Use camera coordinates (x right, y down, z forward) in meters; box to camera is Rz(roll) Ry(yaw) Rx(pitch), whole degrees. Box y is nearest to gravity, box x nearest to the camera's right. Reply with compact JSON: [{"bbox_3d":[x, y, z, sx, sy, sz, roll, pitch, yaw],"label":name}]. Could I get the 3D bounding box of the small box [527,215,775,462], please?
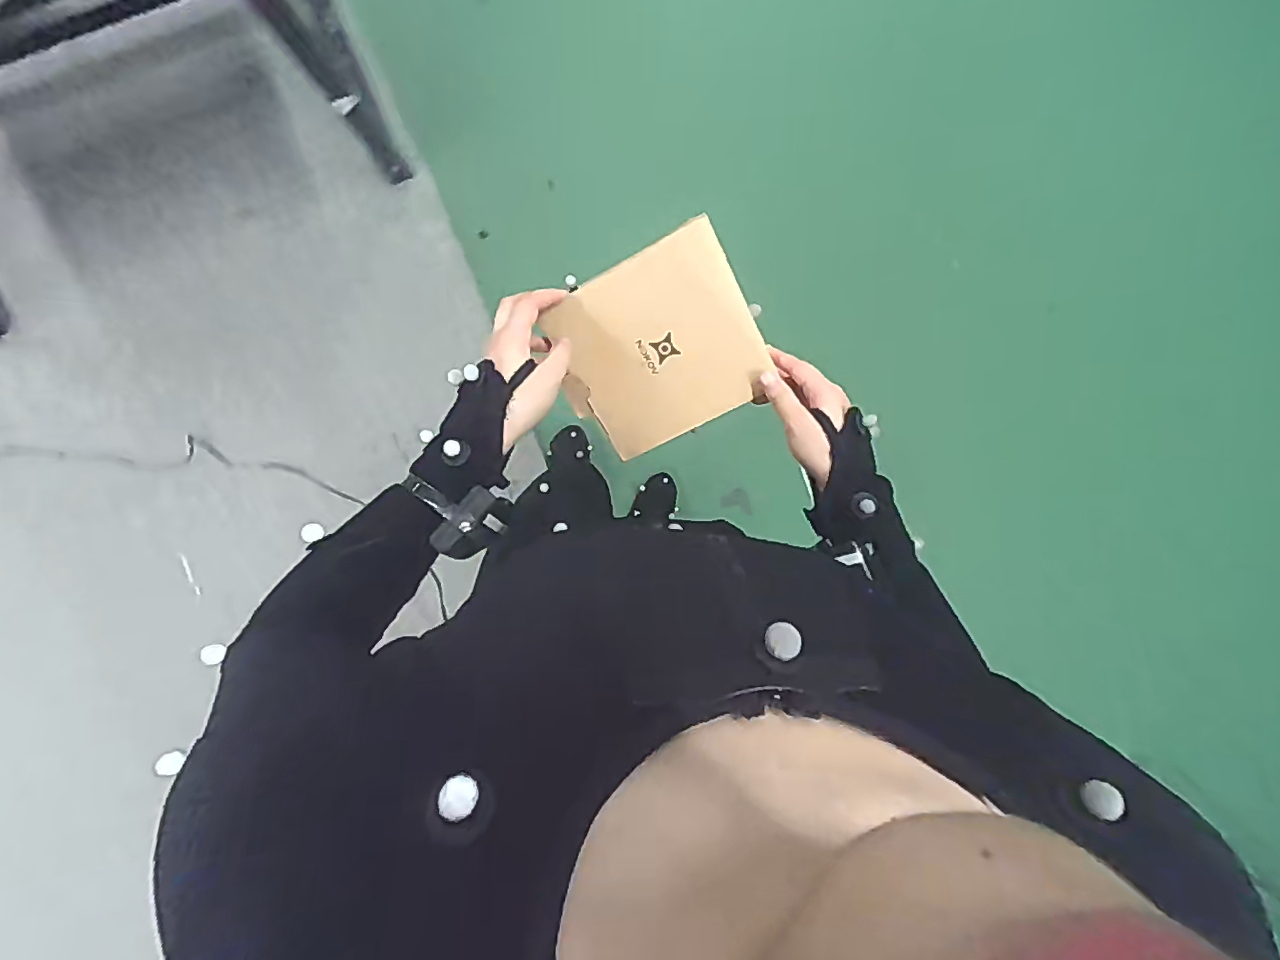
[{"bbox_3d":[0.014,-0.152,0.557,0.179,0.176,0.168,-26,112,15],"label":"small box"}]
